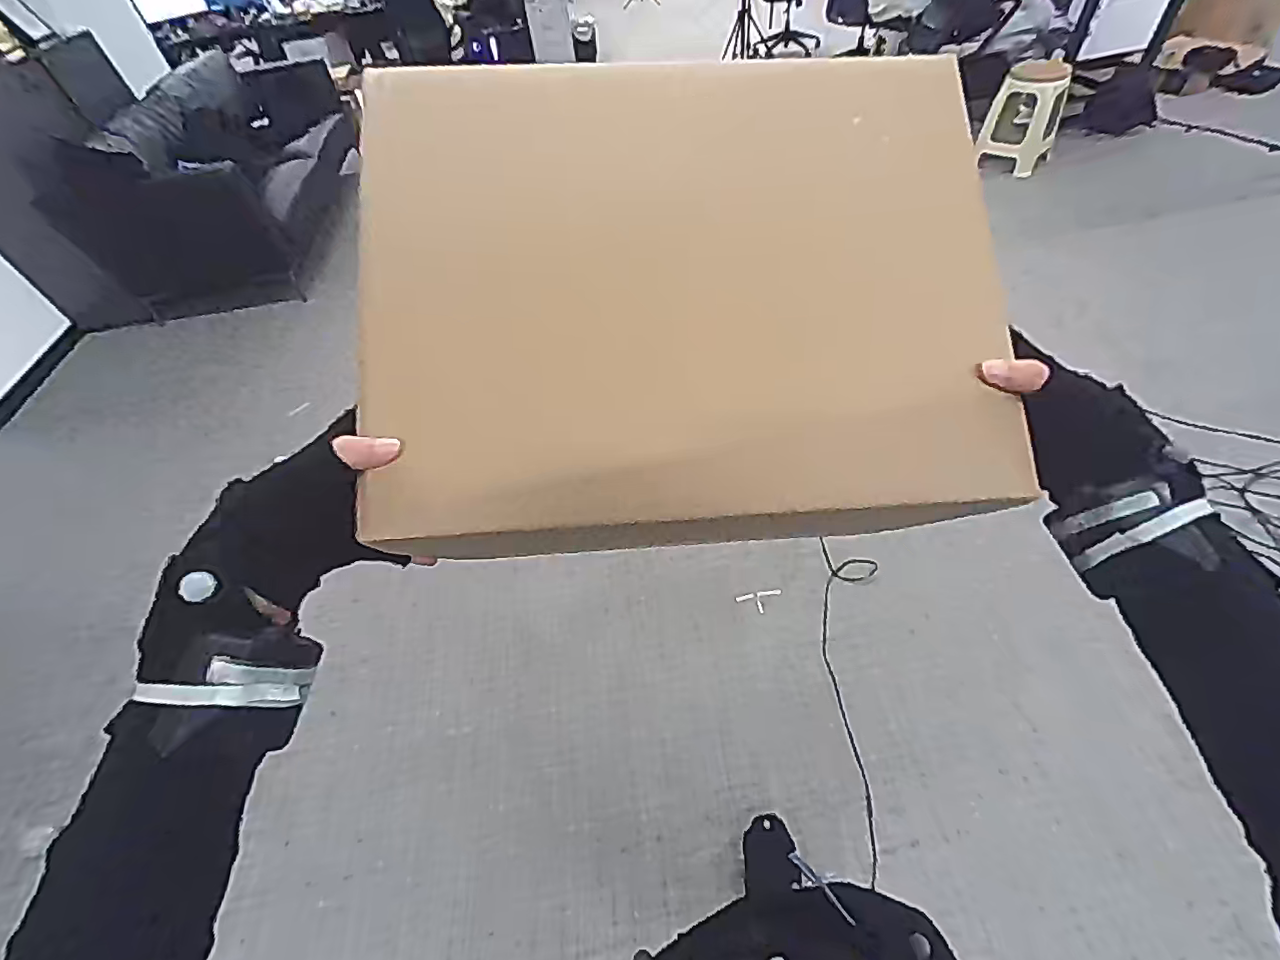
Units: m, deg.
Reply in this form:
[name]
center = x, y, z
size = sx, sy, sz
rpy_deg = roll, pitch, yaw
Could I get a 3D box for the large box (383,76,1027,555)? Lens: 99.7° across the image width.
[large box]
center = 0.033, -0.099, 0.493
size = 0.408, 0.320, 0.320
rpy_deg = -2, 81, -3
